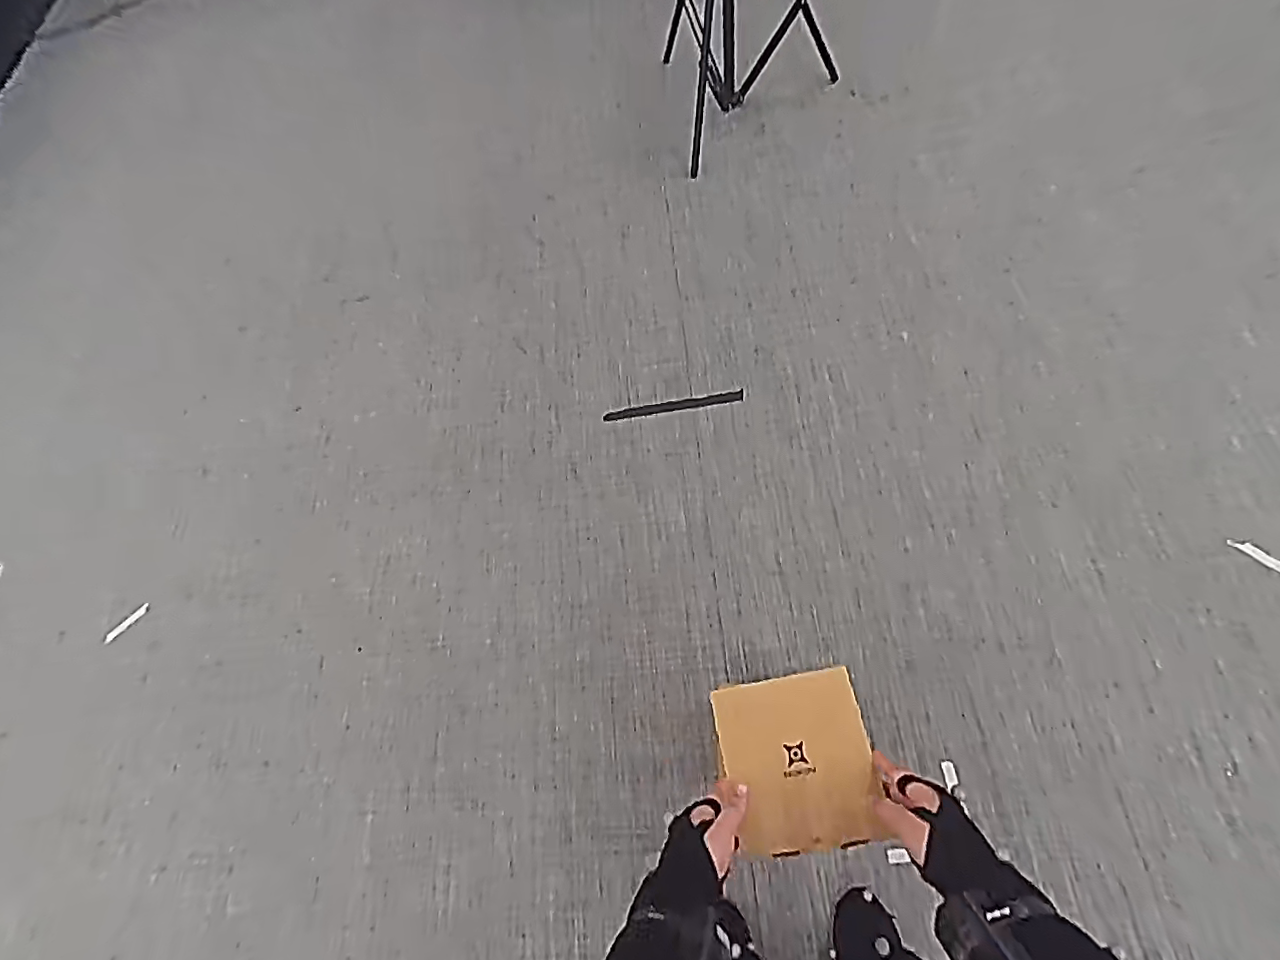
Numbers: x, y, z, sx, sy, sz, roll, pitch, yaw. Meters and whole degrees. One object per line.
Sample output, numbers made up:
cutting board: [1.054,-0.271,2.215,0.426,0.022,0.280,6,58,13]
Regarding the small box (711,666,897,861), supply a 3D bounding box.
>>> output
small box: [0.189,0.343,0.669,0.168,0.176,0.179,-14,63,8]
